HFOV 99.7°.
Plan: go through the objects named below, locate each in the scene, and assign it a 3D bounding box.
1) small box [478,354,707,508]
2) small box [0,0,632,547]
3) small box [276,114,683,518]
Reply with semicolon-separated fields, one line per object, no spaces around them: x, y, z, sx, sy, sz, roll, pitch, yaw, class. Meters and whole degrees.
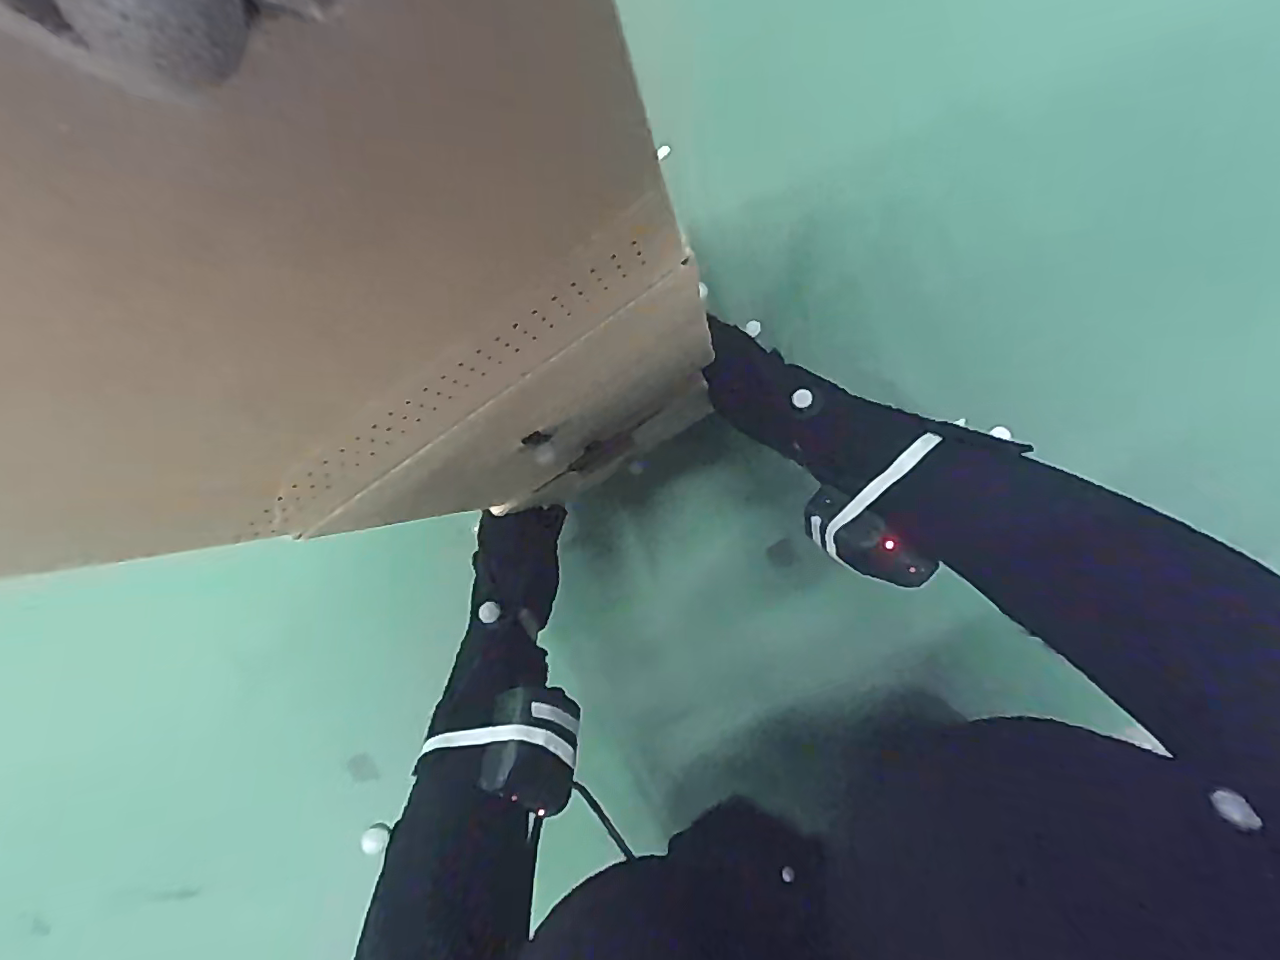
-0.061;-0.094;0.432;0.168;0.176;0.179;-32;86;11;small box
-0.124;-0.092;0.111;0.179;0.176;0.168;-33;85;9;small box
-0.090;-0.097;0.267;0.179;0.176;0.168;-30;84;10;small box
